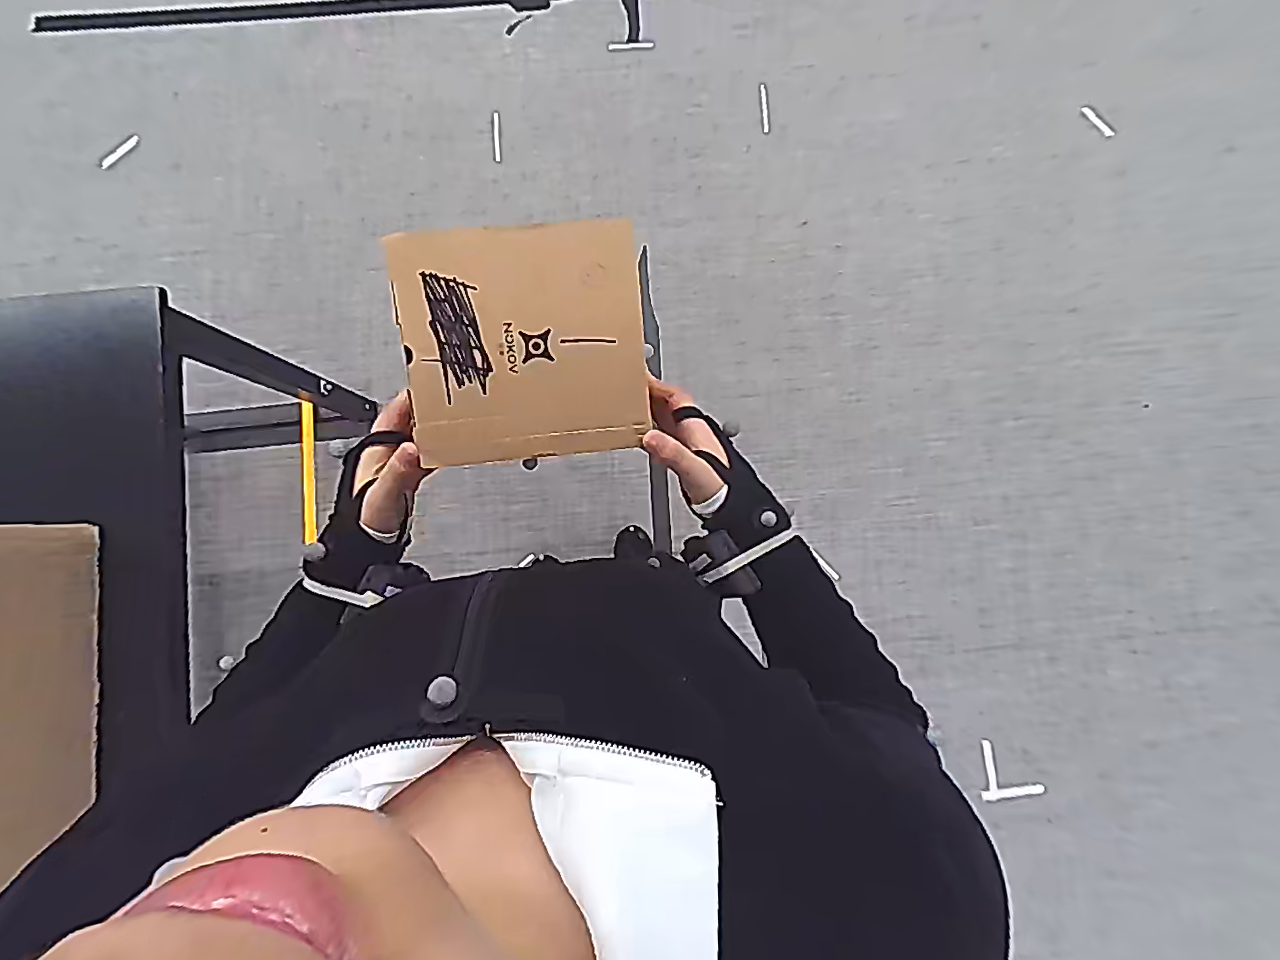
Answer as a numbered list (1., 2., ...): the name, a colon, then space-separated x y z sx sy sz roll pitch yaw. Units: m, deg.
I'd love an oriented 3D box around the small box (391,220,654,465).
1. small box: -0.086 -0.110 0.468 0.179 0.176 0.168 -6 101 -4
